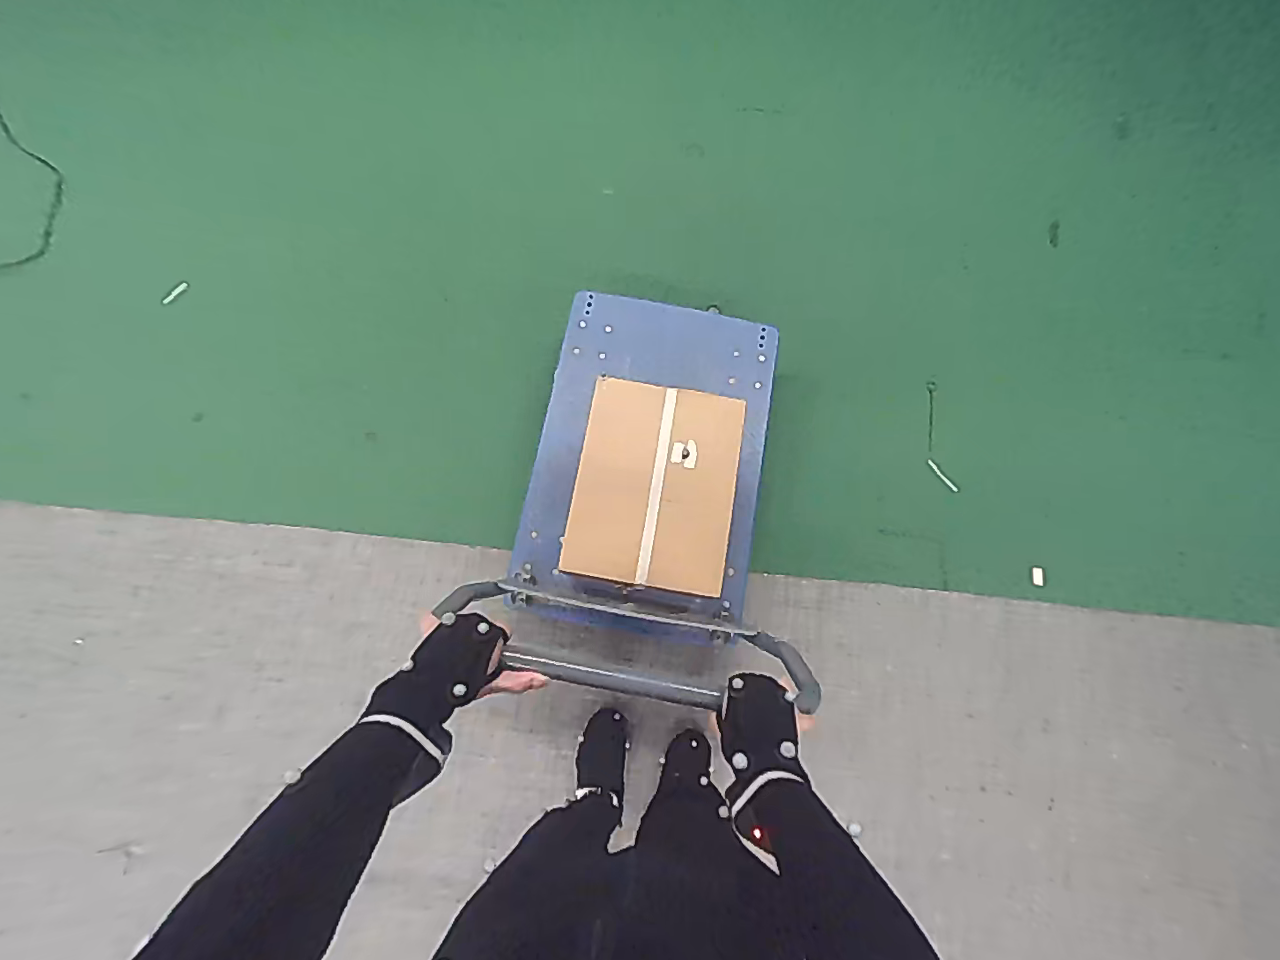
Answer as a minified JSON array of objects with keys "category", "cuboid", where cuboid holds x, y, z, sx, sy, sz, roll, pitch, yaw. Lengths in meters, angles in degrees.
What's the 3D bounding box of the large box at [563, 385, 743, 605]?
[{"category":"large box","cuboid":[0.028,0.054,1.211,0.320,0.320,0.408,10,76,0]}]
